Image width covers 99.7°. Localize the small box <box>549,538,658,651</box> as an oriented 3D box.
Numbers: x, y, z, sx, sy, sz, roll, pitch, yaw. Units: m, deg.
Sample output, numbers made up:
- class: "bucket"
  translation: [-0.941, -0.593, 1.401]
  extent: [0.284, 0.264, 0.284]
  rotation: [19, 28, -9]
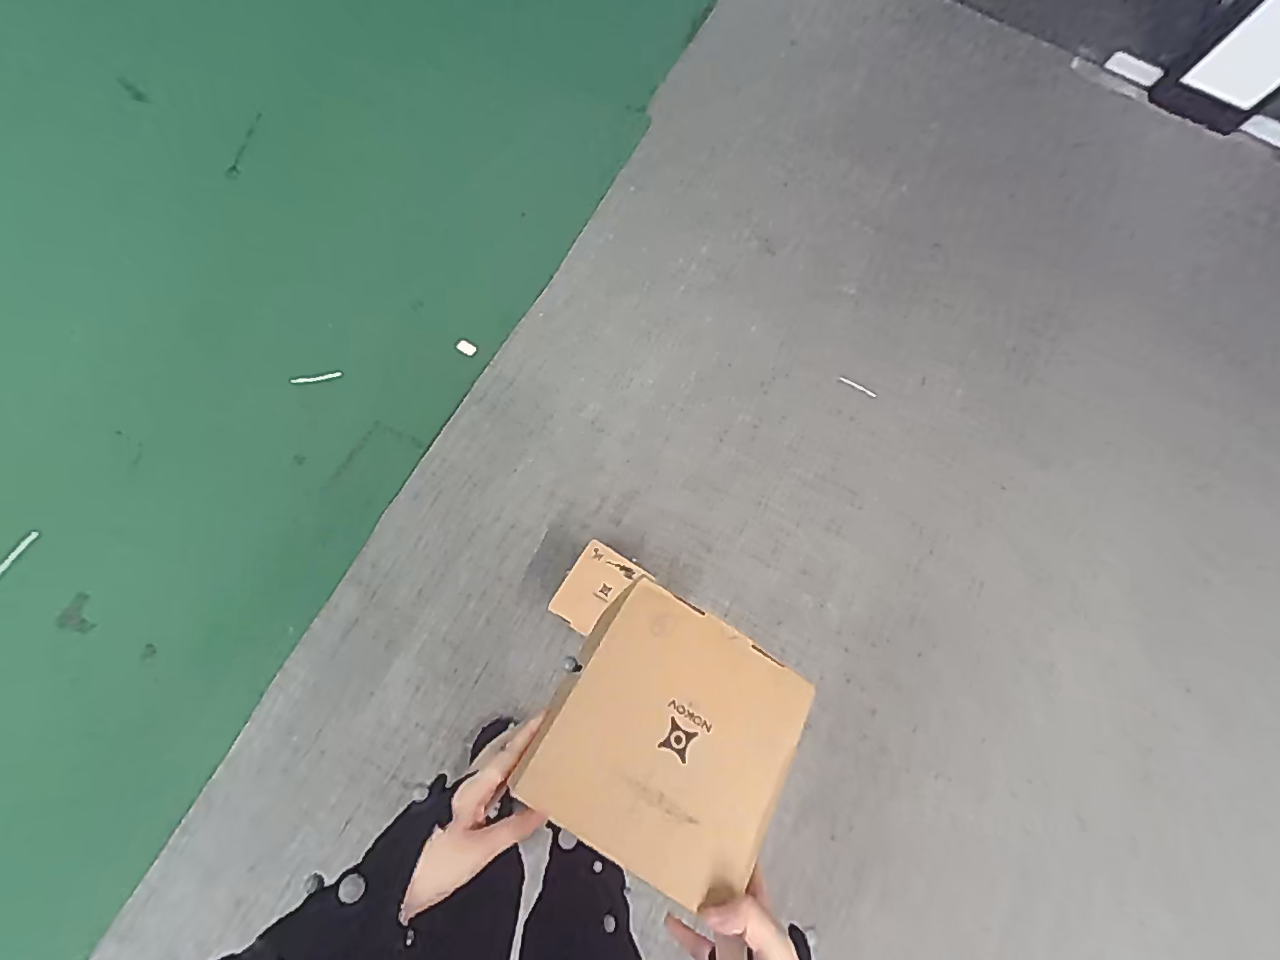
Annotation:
- class: "small box"
  translation: [-0.077, 0.252, 1.192]
  extent: [0.168, 0.176, 0.179]
  rotation: [32, 77, 4]
